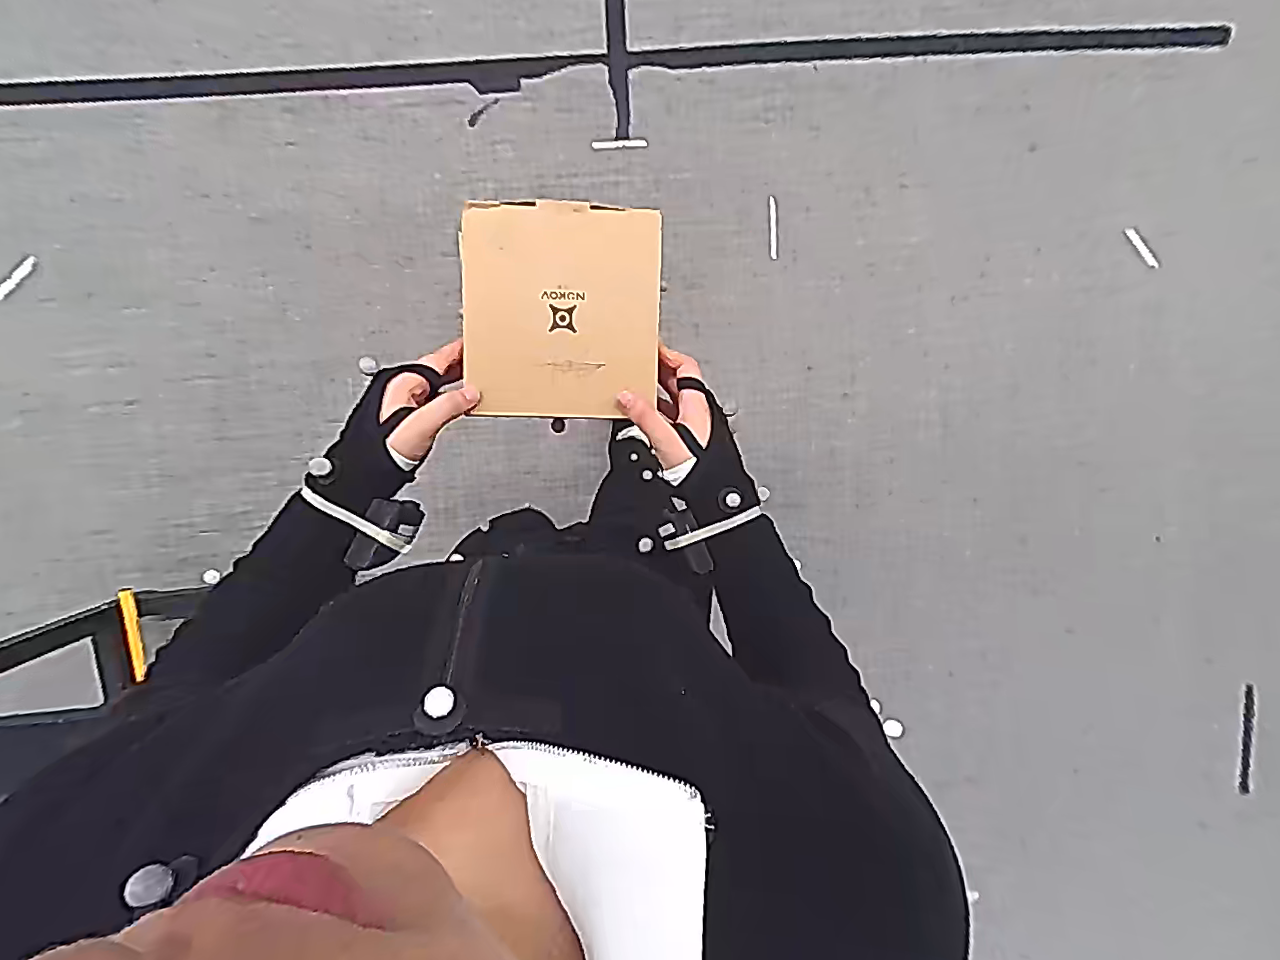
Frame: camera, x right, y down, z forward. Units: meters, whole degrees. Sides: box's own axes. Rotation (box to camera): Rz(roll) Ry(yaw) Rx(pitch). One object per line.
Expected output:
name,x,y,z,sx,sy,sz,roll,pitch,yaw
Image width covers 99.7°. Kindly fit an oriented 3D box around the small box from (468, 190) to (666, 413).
small box,-0.068,-0.157,0.533,0.168,0.176,0.179,0,97,-4
